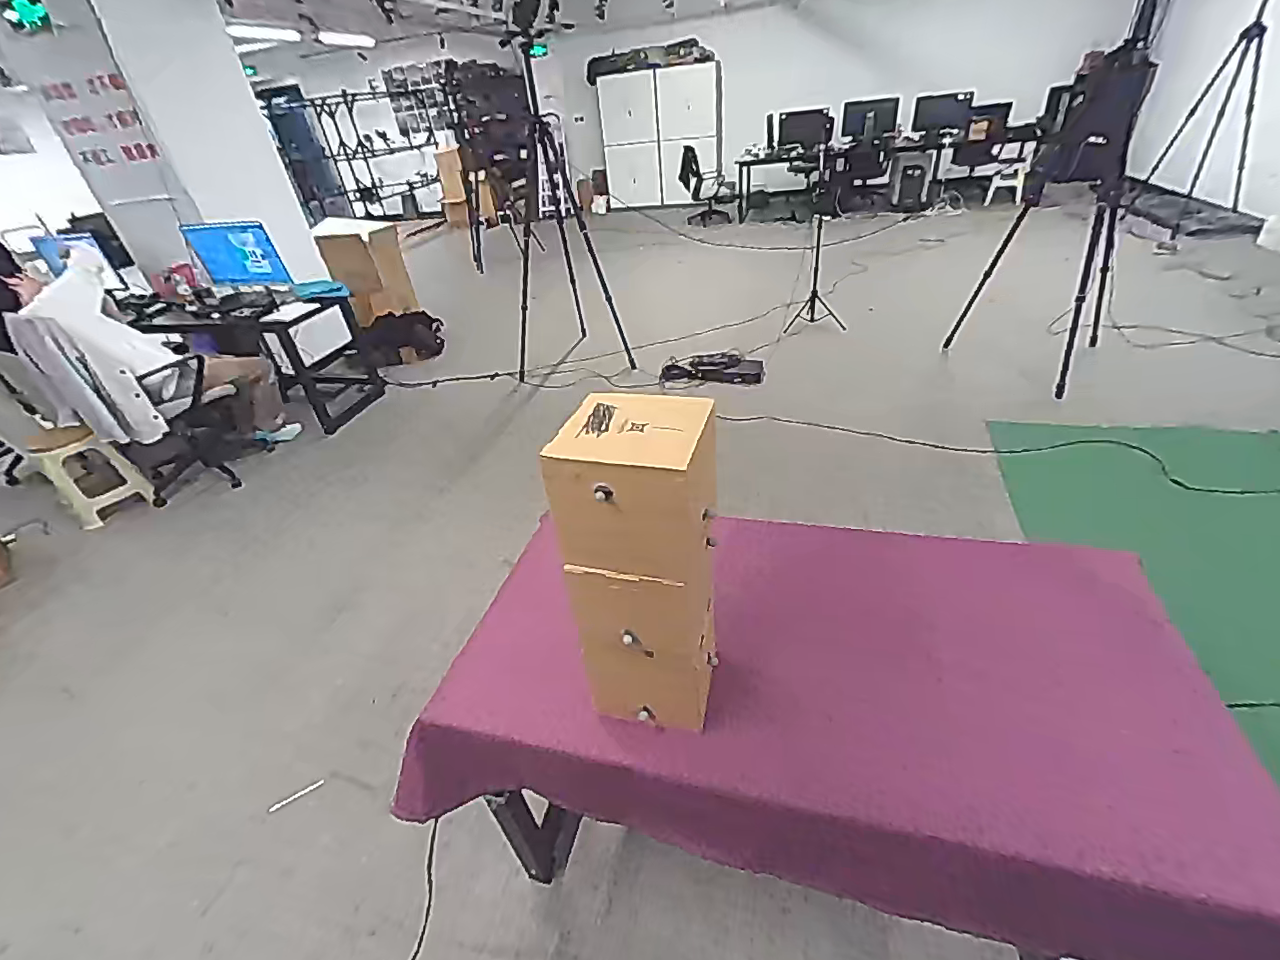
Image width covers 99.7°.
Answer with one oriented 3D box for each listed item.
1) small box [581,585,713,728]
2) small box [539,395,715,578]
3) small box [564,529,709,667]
[{"bbox_3d":[0.022,0.277,0.881,0.179,0.176,0.168,4,36,14],"label":"small box"},{"bbox_3d":[-0.004,0.006,0.695,0.179,0.176,0.168,6,37,17],"label":"small box"},{"bbox_3d":[0.007,0.140,0.790,0.168,0.176,0.179,4,37,16],"label":"small box"}]
